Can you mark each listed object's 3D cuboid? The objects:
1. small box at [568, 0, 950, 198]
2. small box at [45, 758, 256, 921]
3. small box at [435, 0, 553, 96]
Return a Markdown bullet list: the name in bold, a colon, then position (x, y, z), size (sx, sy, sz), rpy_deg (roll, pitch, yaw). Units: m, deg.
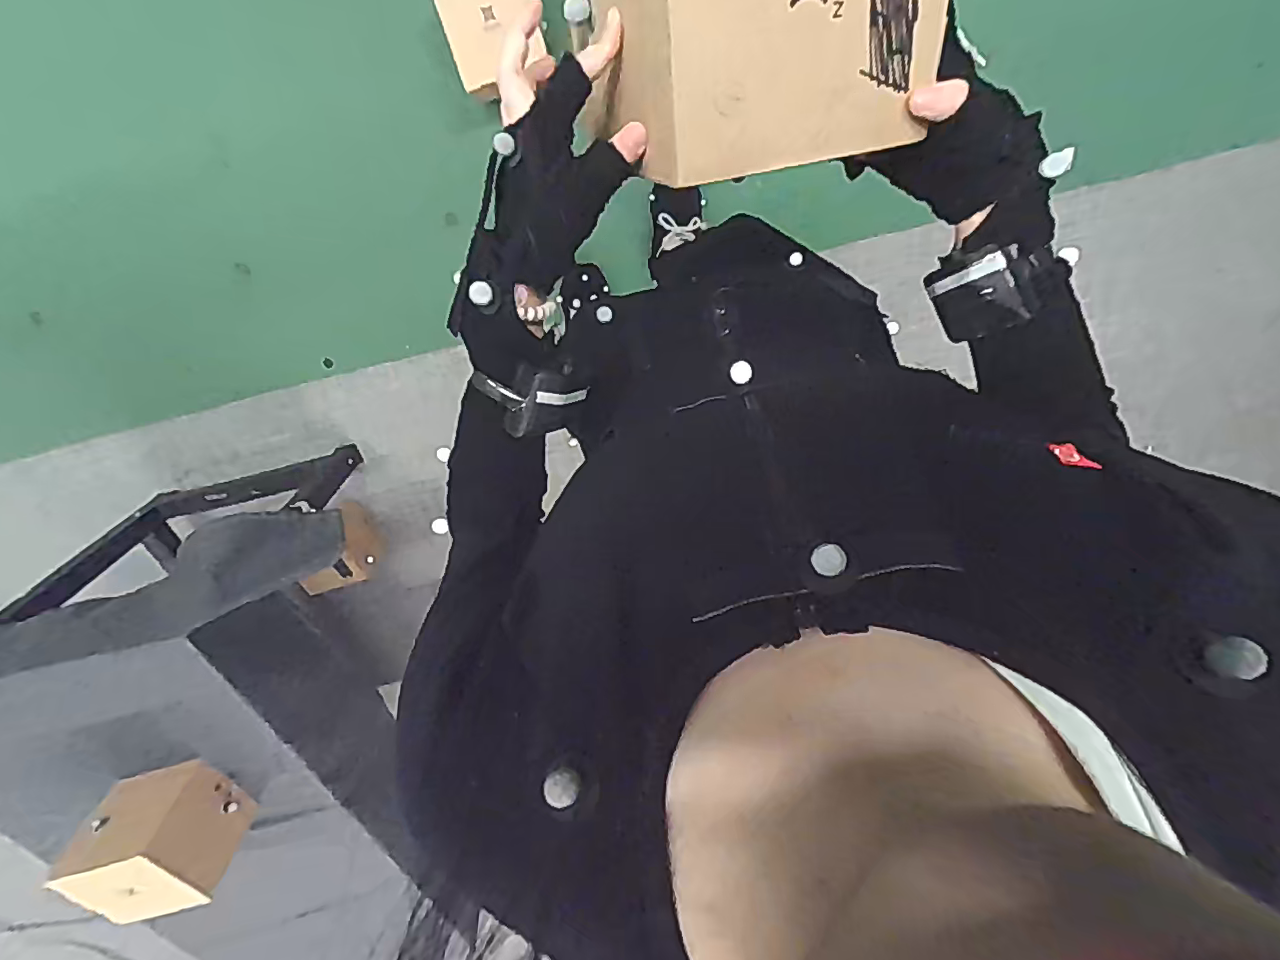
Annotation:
- **small box**: position (0.063, -0.290, 0.335), size (0.179, 0.176, 0.168), rpy_deg (-18, 129, -13)
- **small box**: position (-0.833, 0.622, 0.945), size (0.179, 0.176, 0.168), rpy_deg (-16, 121, 4)
- **small box**: position (-0.266, -0.841, 1.010), size (0.168, 0.176, 0.179), rpy_deg (-15, 121, 3)
